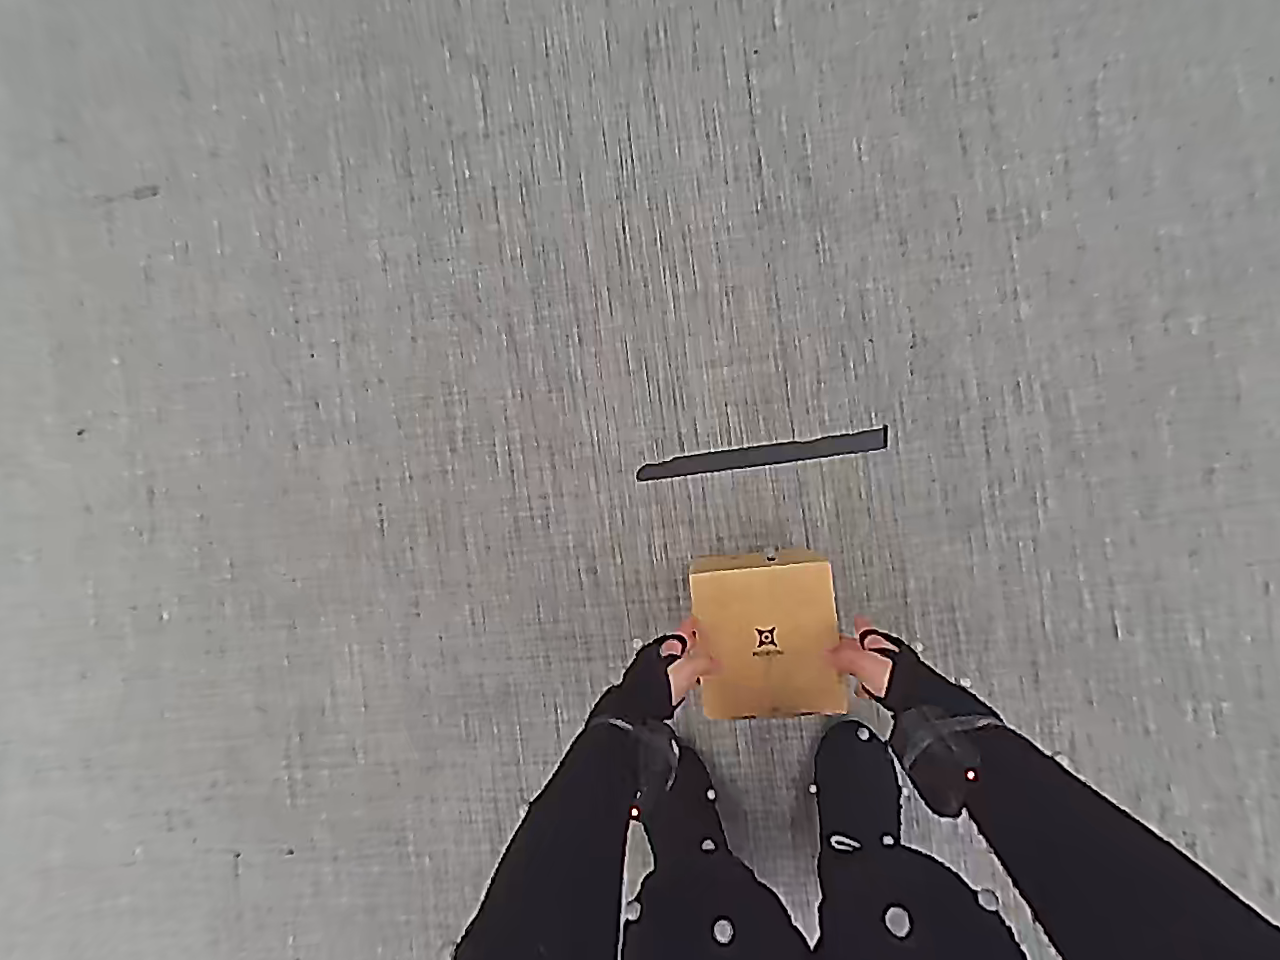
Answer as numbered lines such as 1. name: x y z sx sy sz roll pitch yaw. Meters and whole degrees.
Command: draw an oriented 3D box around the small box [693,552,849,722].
1. small box: 0.157 0.189 0.699 0.168 0.176 0.179 -6 88 7
